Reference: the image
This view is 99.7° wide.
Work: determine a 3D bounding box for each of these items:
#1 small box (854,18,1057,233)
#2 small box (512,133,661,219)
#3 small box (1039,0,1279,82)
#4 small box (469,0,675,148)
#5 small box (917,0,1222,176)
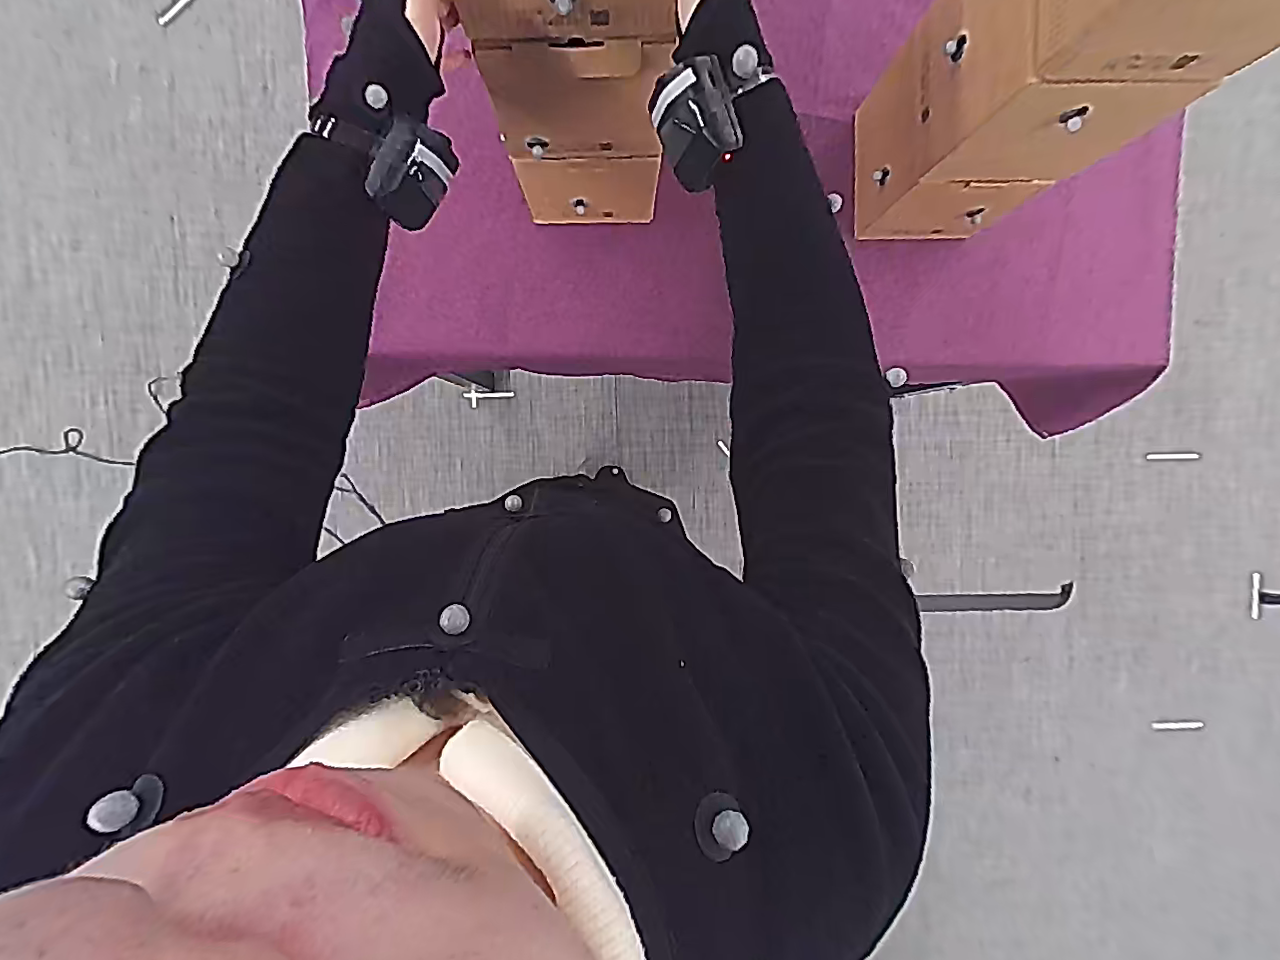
[{"bbox_3d":[0.385,-0.427,0.681,0.168,0.176,0.179,-1,93,-3],"label":"small box"},{"bbox_3d":[-0.064,-0.445,0.664,0.168,0.176,0.179,-2,95,-2],"label":"small box"},{"bbox_3d":[0.402,-0.409,0.354,0.168,0.176,0.179,-1,93,-2],"label":"small box"},{"bbox_3d":[-0.058,-0.435,0.500,0.168,0.176,0.179,-3,94,-3],"label":"small box"},{"bbox_3d":[0.391,-0.414,0.518,0.179,0.176,0.168,-2,94,-3],"label":"small box"}]
